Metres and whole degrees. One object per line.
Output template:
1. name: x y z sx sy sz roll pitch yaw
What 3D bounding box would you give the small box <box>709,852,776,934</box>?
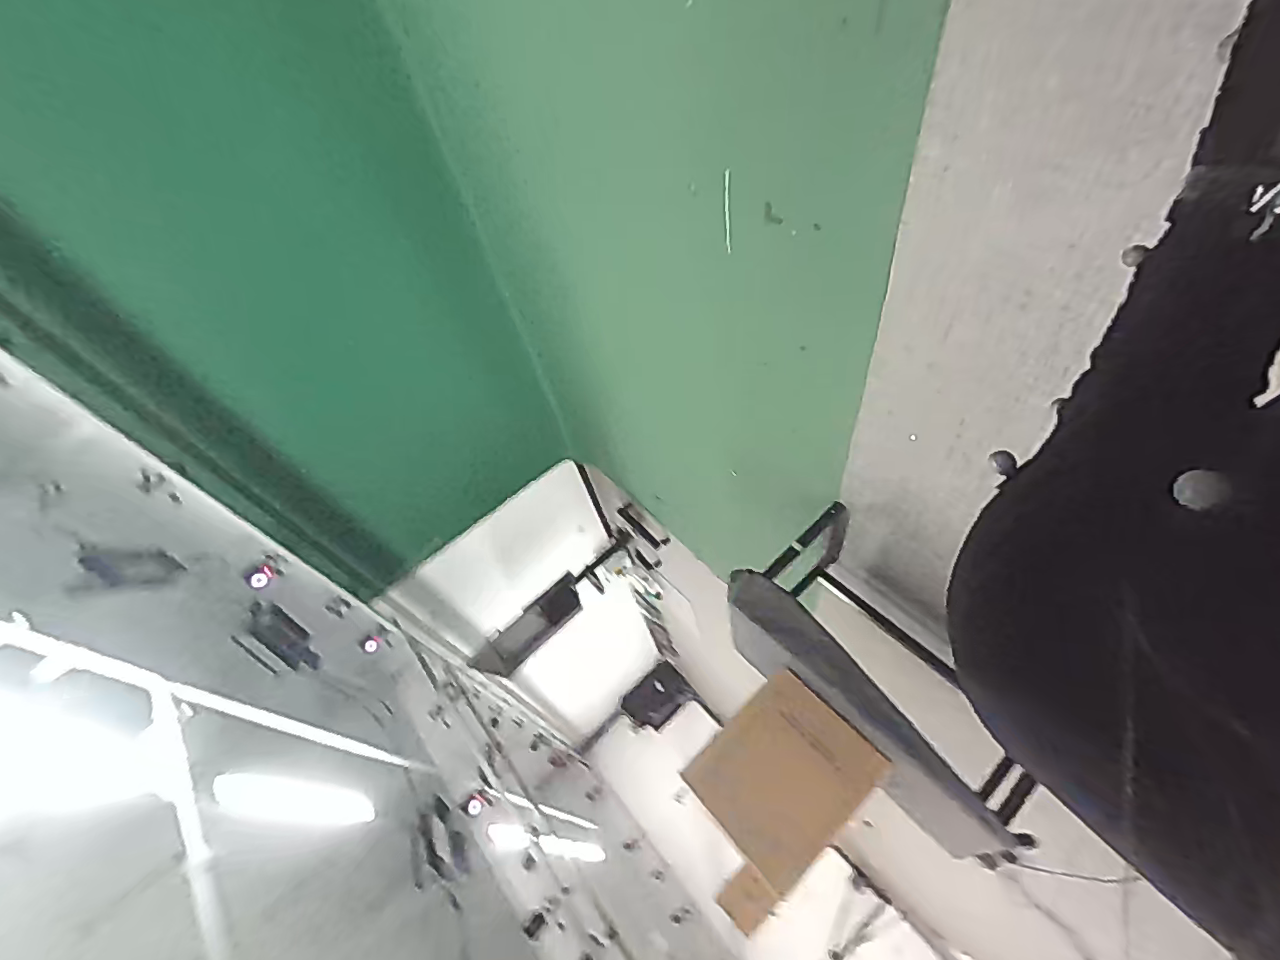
1. small box: 0.376 1.487 1.954 0.168 0.176 0.179 36 155 39
